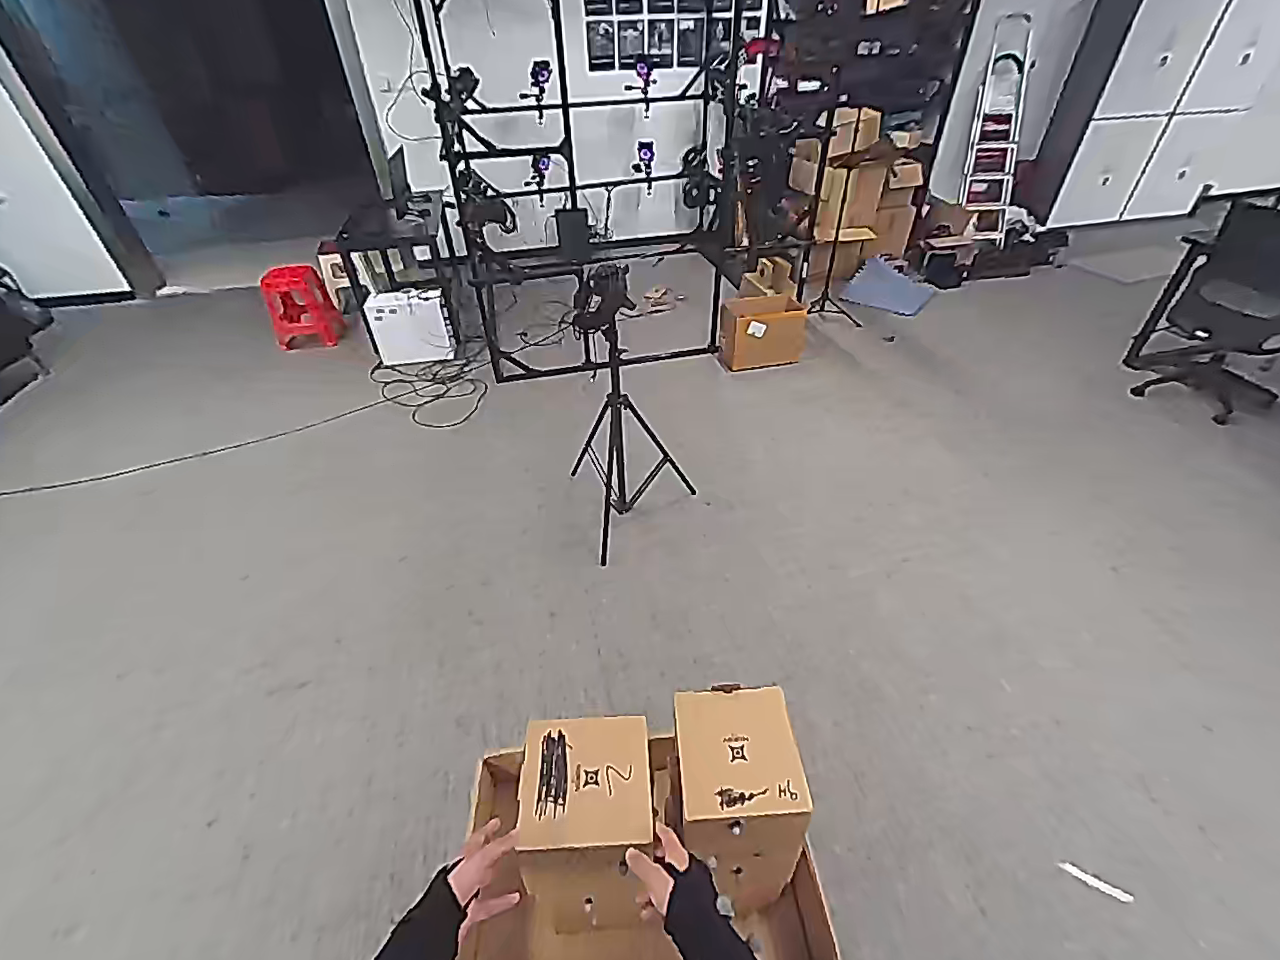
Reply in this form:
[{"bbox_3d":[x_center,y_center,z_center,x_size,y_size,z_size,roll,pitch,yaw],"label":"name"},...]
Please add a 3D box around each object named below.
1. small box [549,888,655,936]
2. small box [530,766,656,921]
[{"bbox_3d":[-0.068,0.702,0.983,0.179,0.176,0.168,-2,39,-3],"label":"small box"},{"bbox_3d":[-0.064,0.584,0.869,0.179,0.176,0.168,0,39,2],"label":"small box"}]
